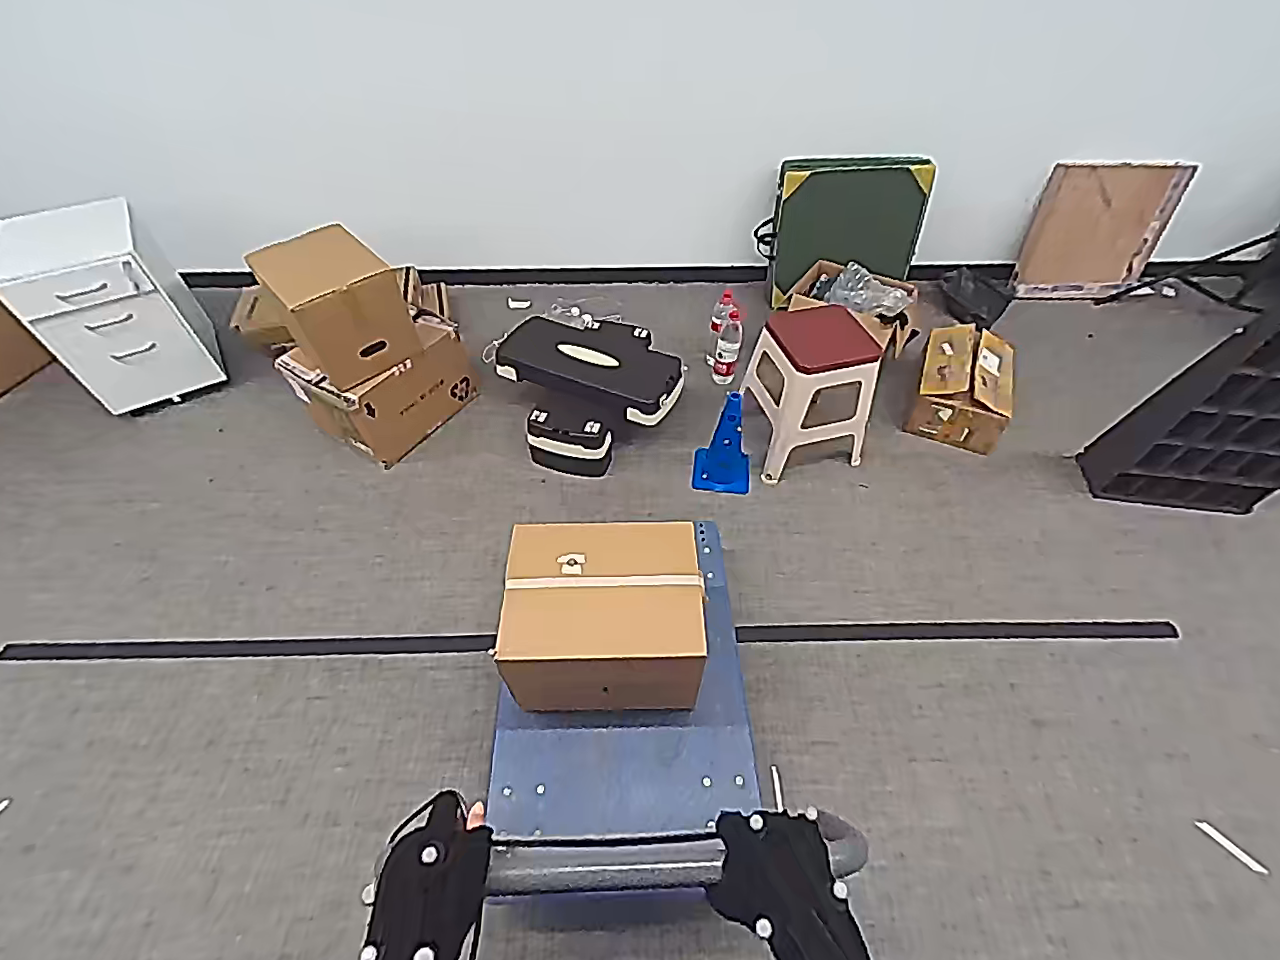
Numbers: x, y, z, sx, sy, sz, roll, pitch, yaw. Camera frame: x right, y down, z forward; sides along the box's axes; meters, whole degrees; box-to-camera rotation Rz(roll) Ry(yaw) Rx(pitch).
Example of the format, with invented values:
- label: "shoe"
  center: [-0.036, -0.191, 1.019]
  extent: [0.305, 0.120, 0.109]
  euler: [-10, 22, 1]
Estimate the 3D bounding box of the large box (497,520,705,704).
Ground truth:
- label: "large box"
  center: [-0.076, 0.308, 1.235]
  extent: [0.408, 0.320, 0.320]
  euler: [-1, 50, 0]
